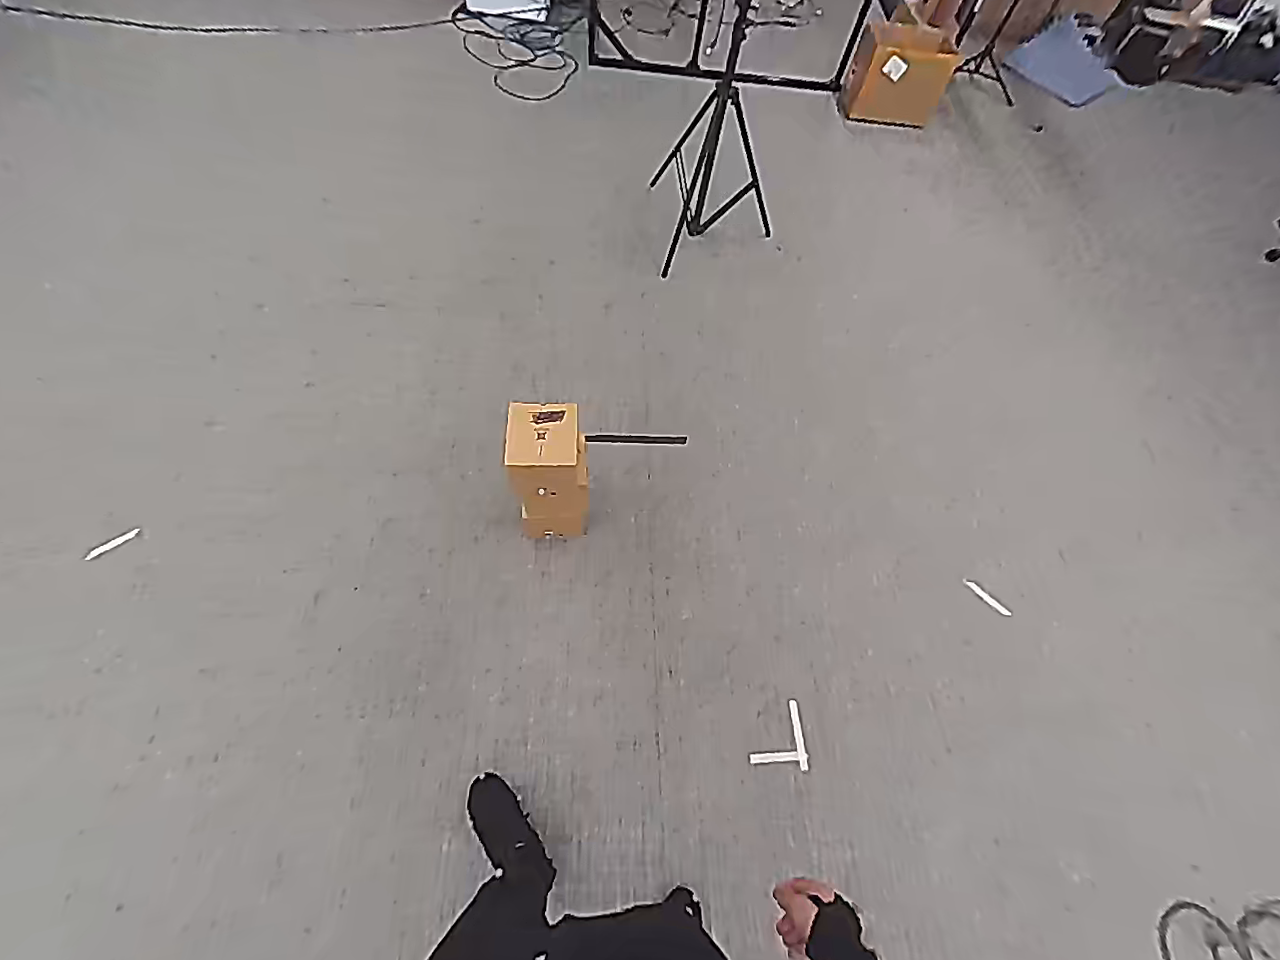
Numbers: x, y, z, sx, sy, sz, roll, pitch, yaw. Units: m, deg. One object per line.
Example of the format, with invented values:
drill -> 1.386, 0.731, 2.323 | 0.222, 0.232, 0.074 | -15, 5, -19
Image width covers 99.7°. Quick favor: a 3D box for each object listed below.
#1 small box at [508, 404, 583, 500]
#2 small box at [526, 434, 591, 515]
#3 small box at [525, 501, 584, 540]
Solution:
small box -> -0.226, -0.067, 1.335 | 0.168, 0.176, 0.179 | 0, 63, -5
small box -> -0.227, -0.010, 1.491 | 0.179, 0.176, 0.168 | -3, 62, -7
small box -> -0.255, 0.070, 1.632 | 0.168, 0.176, 0.179 | -2, 62, -7
